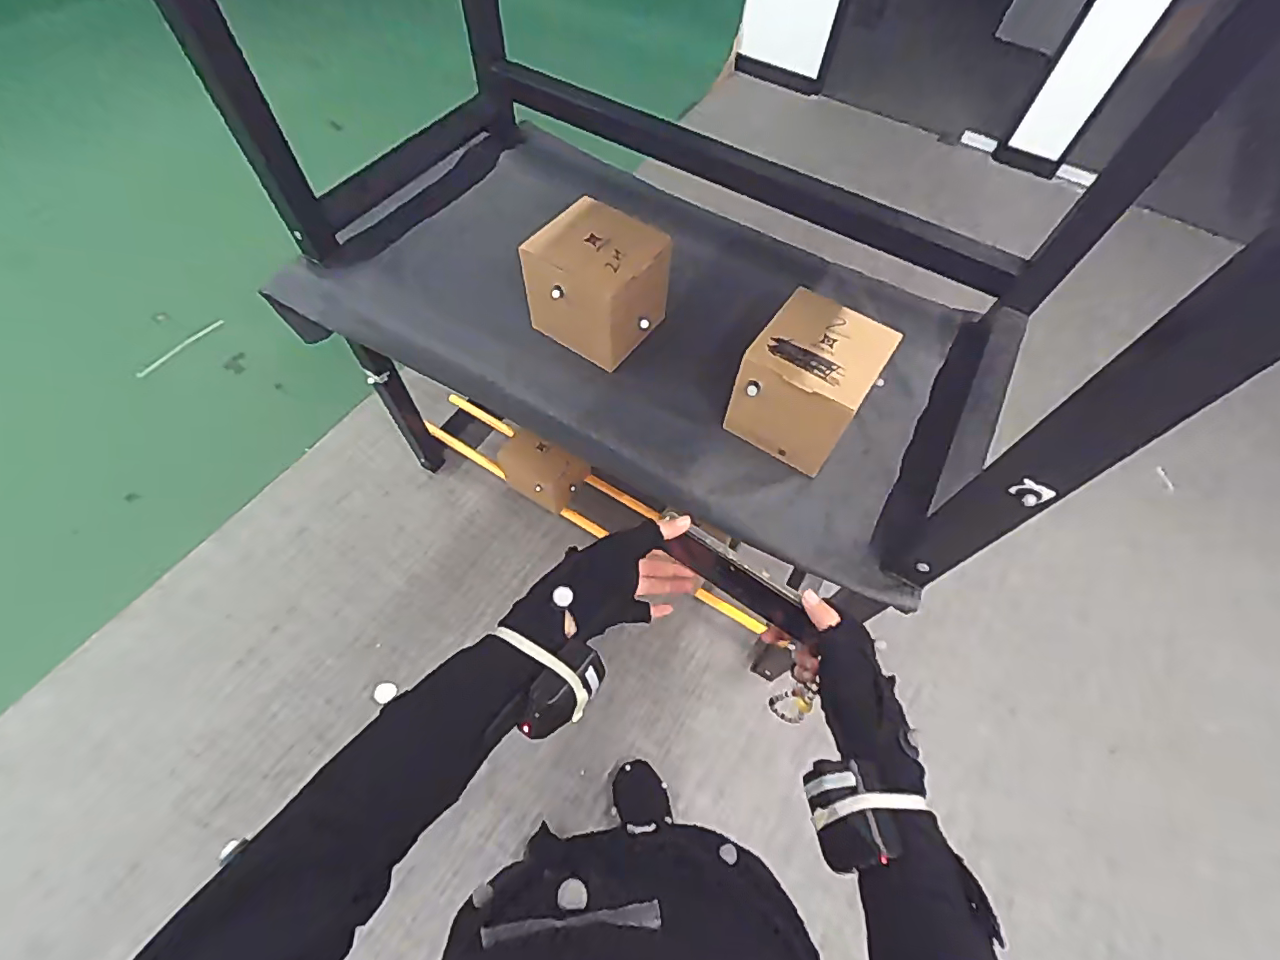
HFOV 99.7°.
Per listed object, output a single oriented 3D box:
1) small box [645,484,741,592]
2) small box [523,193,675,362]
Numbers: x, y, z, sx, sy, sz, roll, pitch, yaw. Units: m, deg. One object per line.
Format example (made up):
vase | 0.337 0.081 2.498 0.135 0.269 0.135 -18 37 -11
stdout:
small box | 0.127 0.150 1.346 0.168 0.176 0.179 33 65 14
small box | -0.064 -0.327 0.888 0.179 0.176 0.168 32 64 15
